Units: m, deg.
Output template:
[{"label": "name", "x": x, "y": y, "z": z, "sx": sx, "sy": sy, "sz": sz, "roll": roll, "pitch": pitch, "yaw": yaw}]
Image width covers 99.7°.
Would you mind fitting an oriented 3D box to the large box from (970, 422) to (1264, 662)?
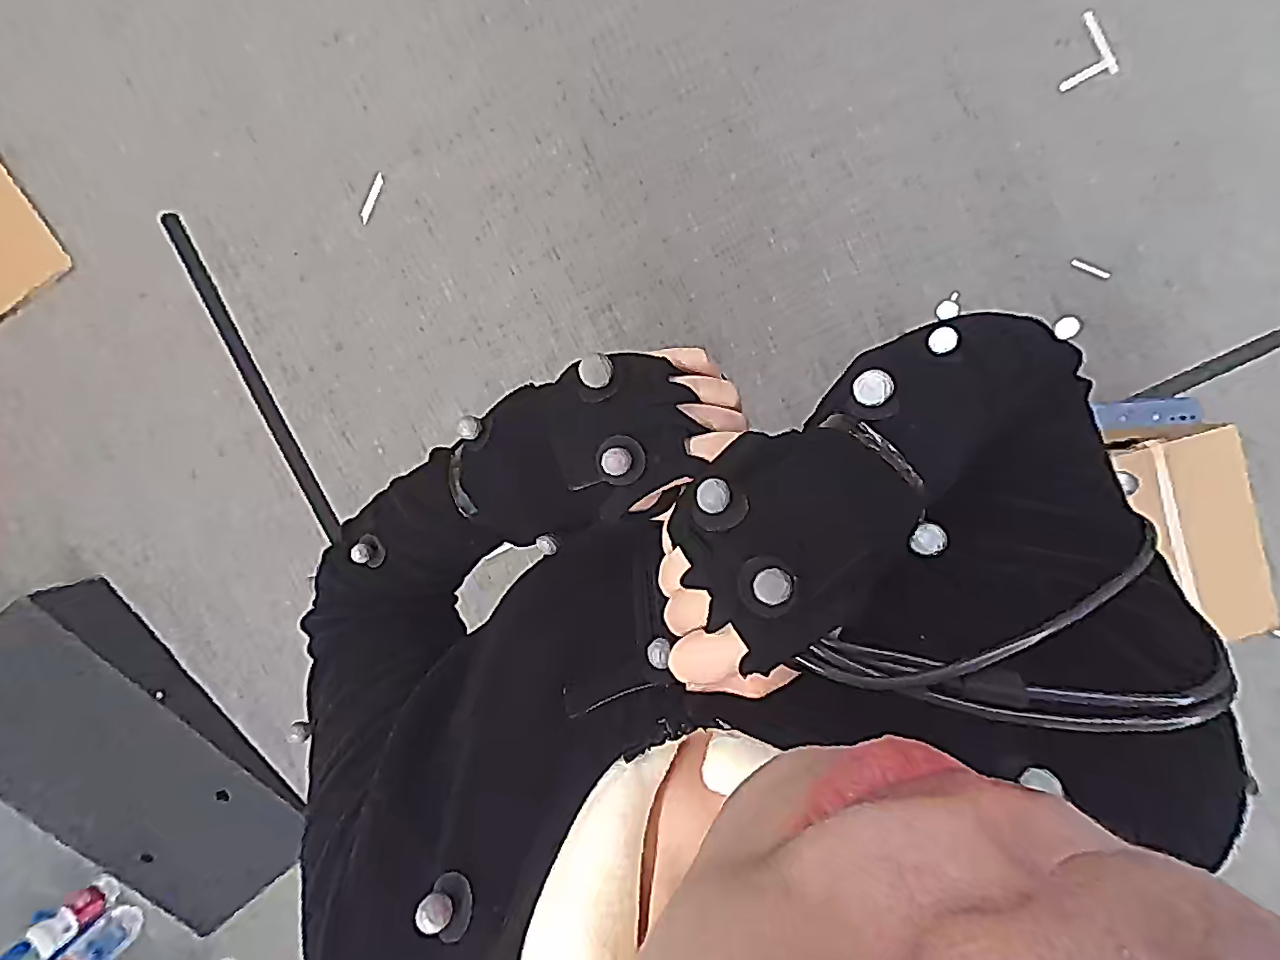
[{"label": "large box", "x": 0.990, "y": 0.110, "z": 1.167, "sx": 0.320, "sy": 0.320, "sz": 0.408, "roll": -15, "pitch": 94, "yaw": 2}]
